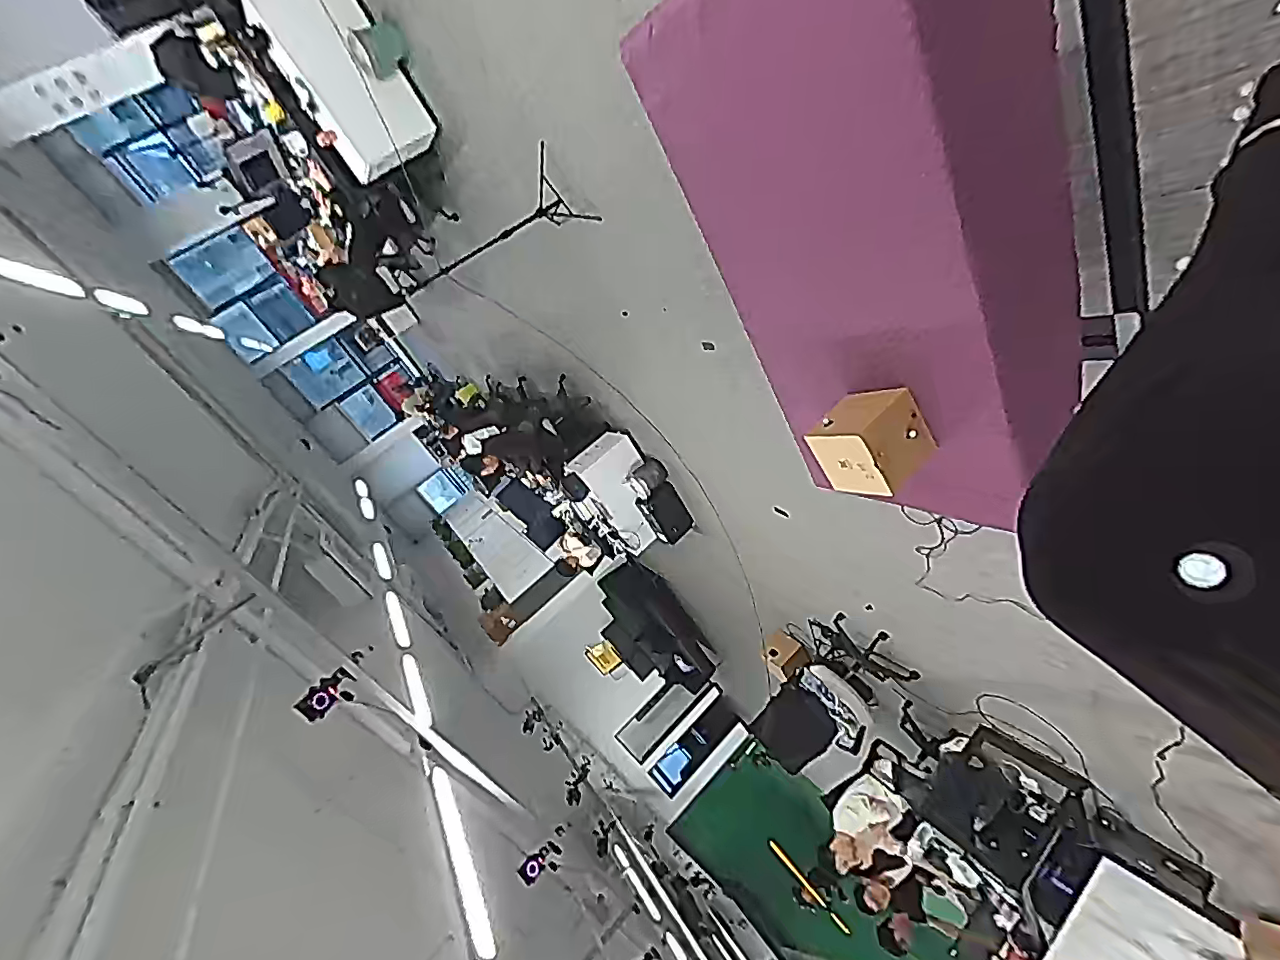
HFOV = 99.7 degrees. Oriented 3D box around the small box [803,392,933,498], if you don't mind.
[{"bbox_3d":[0.513,-0.081,1.218,0.168,0.176,0.179,54,163,-17],"label":"small box"}]
